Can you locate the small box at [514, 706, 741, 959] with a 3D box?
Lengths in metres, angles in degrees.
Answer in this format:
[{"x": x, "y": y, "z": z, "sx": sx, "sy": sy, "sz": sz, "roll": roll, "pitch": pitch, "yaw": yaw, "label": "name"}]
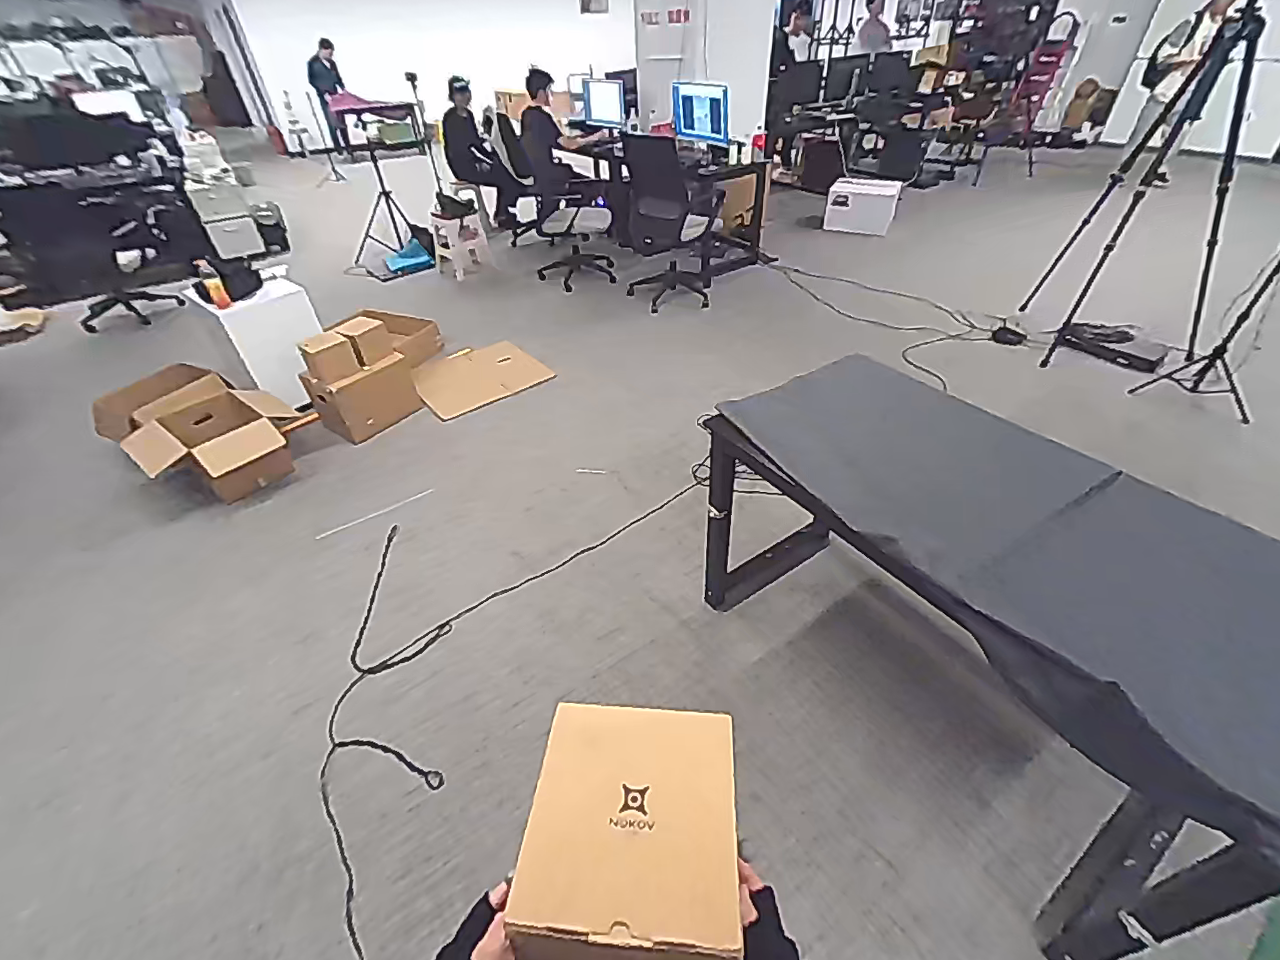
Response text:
[{"x": -0.002, "y": 0.338, "z": 0.492, "sx": 0.168, "sy": 0.176, "sz": 0.179, "roll": 2, "pitch": 35, "yaw": 5, "label": "small box"}]
